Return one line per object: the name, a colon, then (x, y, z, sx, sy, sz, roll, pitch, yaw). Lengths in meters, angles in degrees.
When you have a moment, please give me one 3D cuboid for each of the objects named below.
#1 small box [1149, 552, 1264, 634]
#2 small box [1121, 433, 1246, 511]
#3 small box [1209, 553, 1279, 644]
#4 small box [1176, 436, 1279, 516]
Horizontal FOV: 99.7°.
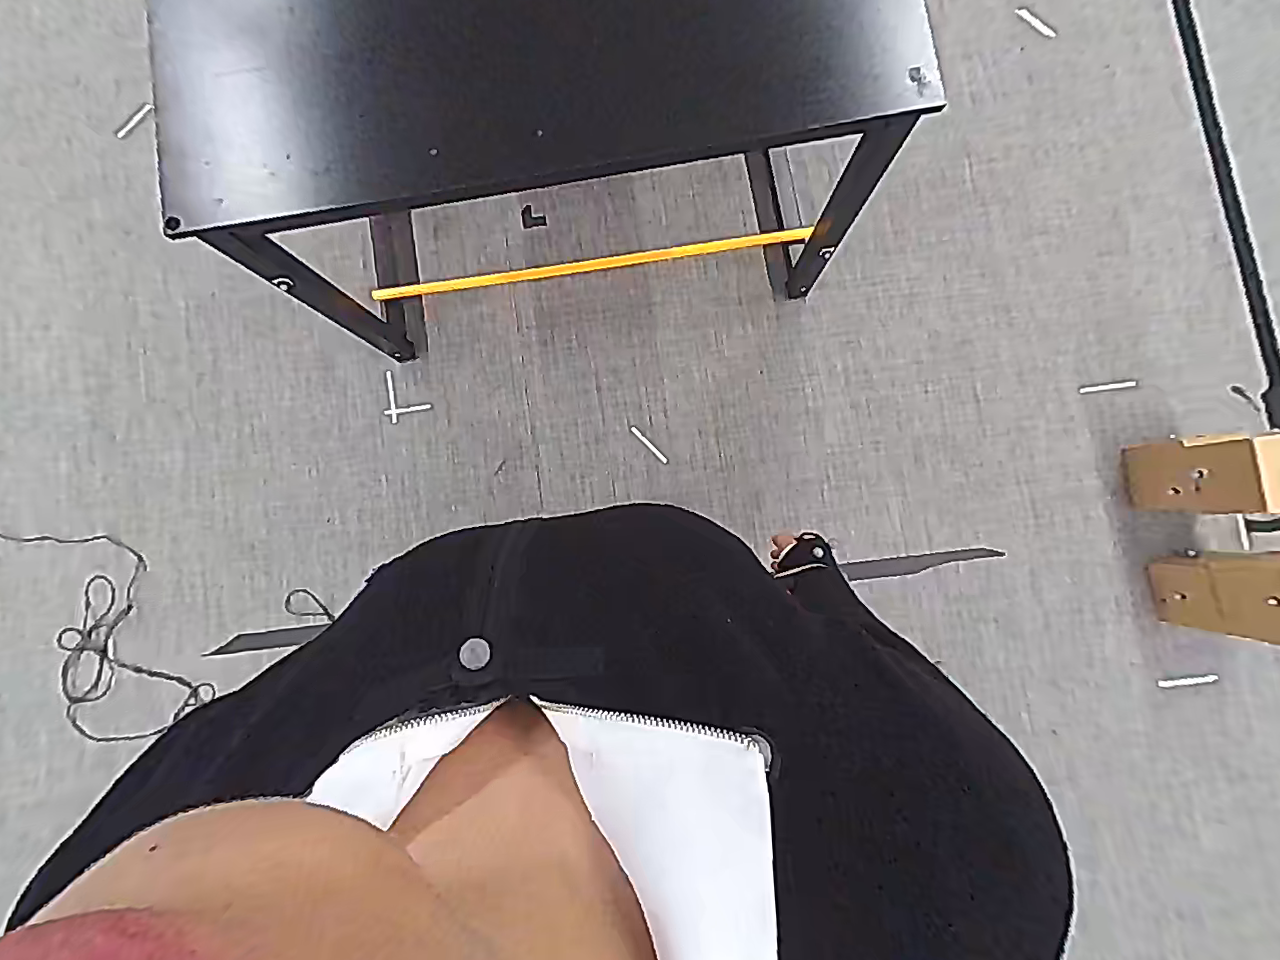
small box: (1.442, 0.278, 1.360, 0.179, 0.176, 0.168, -11, 86, 2)
small box: (1.390, -0.015, 1.380, 0.168, 0.176, 0.179, -7, 85, 1)
small box: (1.432, 0.261, 1.195, 0.168, 0.176, 0.179, -10, 86, 1)
small box: (1.383, -0.010, 1.217, 0.179, 0.176, 0.168, -7, 85, 3)
